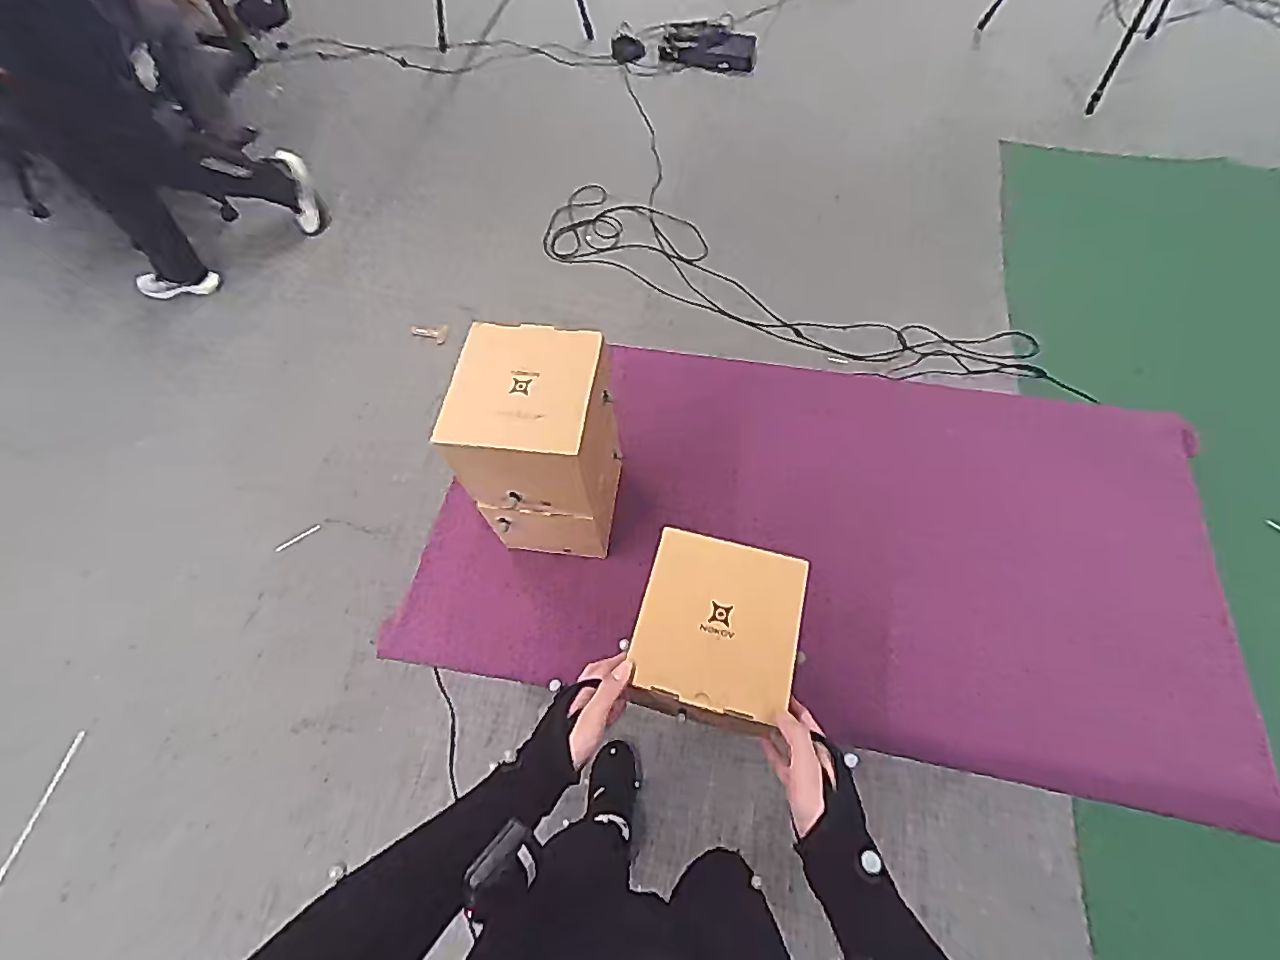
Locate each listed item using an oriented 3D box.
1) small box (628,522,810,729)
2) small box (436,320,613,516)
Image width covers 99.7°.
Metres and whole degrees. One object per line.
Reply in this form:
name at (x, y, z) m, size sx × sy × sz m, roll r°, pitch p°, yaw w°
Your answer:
small box at (0.088, 0.178, 0.640) m, size 0.168 × 0.176 × 0.179 m, roll 14°, pitch 64°, yaw 9°
small box at (-0.130, -0.073, 0.689) m, size 0.168 × 0.176 × 0.179 m, roll 7°, pitch 64°, yaw 5°
